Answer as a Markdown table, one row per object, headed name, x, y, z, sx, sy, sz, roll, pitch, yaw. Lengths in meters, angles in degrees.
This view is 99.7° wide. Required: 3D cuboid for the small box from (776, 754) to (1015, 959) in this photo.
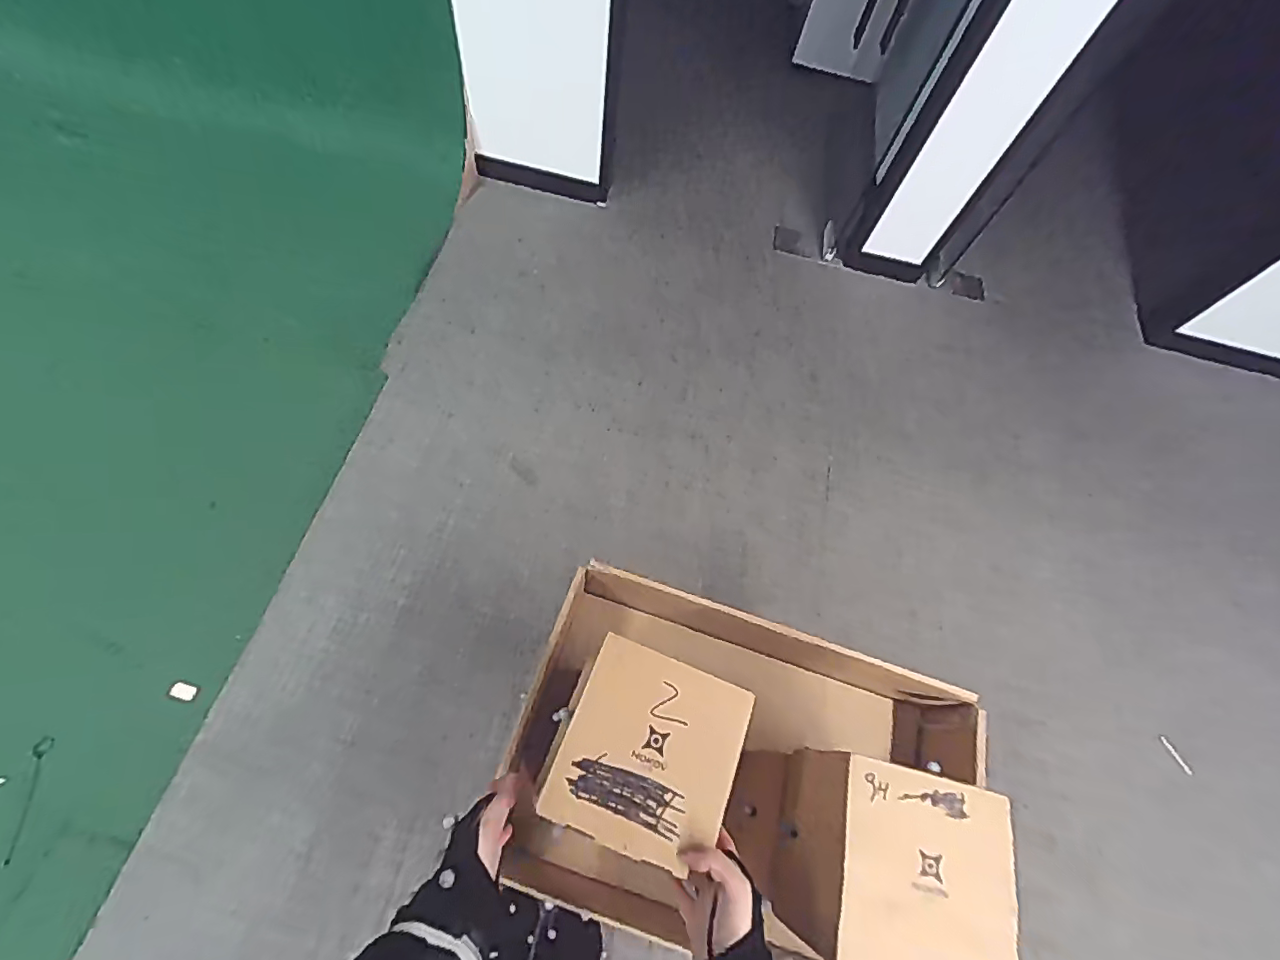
| name | x | y | z | sx | sy | sz | roll | pitch | yaw |
| --- | --- | --- | --- | --- | --- | --- | --- | --- | --- |
| small box | 0.256 | 0.408 | 0.571 | 0.168 | 0.176 | 0.179 | 17 | 64 | 1 |
